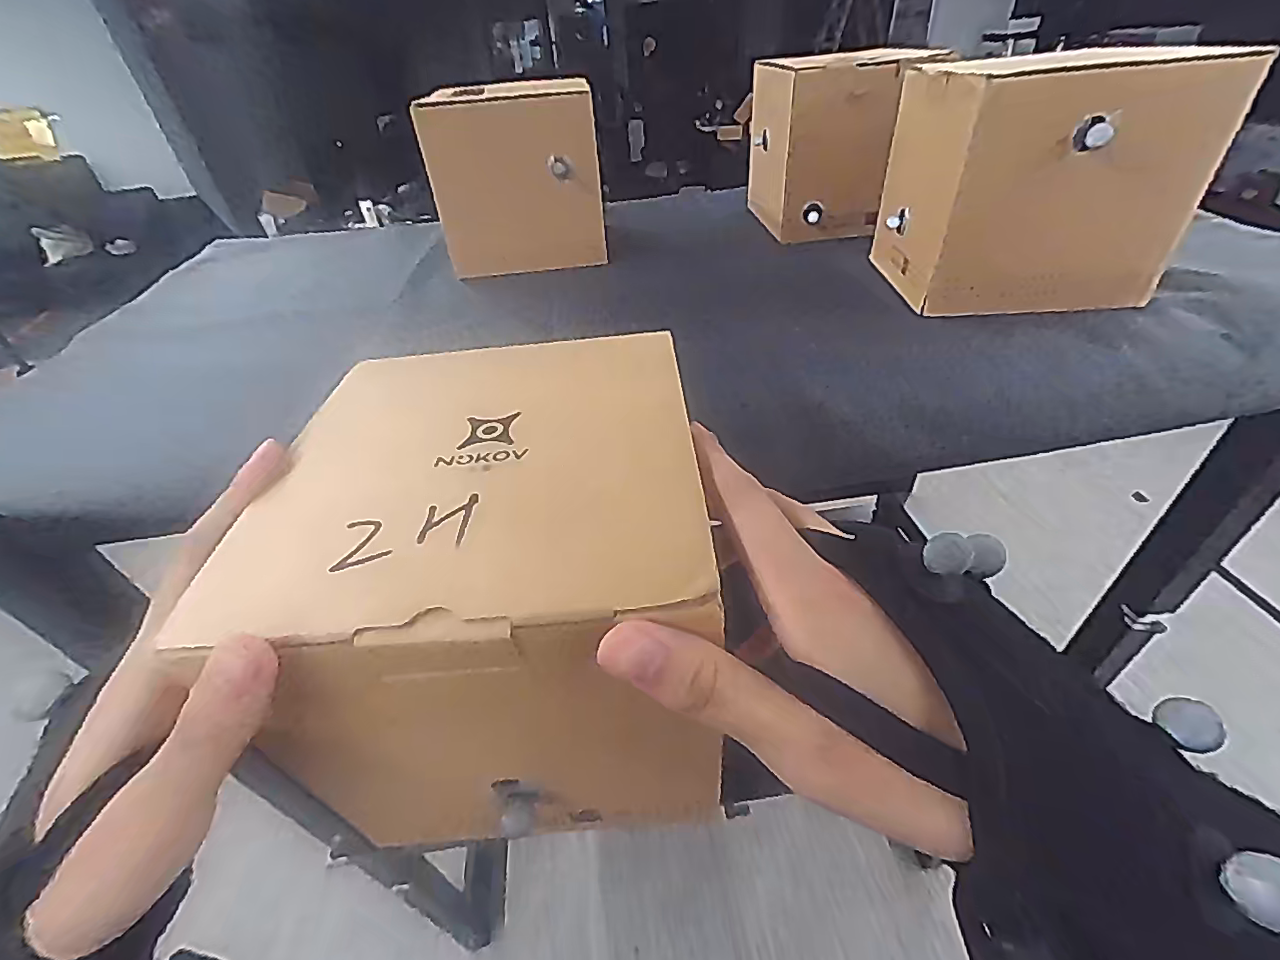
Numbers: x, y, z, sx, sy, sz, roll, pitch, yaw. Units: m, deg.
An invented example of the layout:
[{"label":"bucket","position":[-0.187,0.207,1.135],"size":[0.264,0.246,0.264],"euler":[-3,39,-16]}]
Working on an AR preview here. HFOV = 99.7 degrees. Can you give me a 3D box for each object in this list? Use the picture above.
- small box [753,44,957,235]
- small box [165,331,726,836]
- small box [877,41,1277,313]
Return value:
[{"label":"small box","position":[0.235,-0.401,0.645],"size":[0.168,0.176,0.179],"euler":[-6,39,0]},{"label":"small box","position":[-0.053,0.046,0.267],"size":[0.168,0.176,0.179],"euler":[-5,41,2]},{"label":"small box","position":[0.322,-0.252,0.453],"size":[0.179,0.176,0.168],"euler":[-2,38,6]}]
